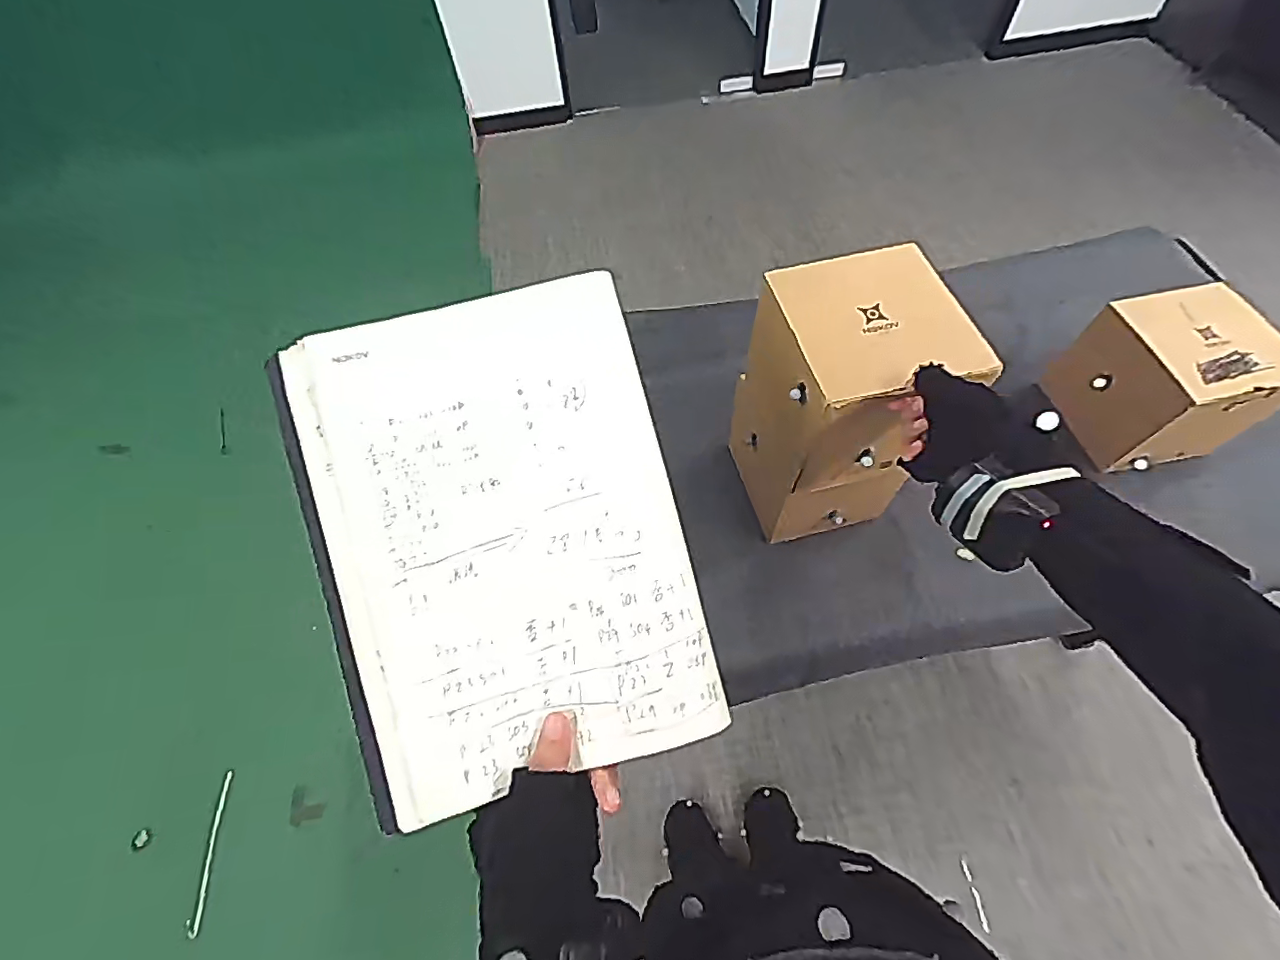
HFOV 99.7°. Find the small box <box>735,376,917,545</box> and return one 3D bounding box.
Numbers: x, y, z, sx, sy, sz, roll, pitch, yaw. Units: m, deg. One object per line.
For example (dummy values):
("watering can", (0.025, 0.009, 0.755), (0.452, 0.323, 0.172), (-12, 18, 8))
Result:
("small box", (0.236, -0.037, 0.729), (0.168, 0.176, 0.179), (-14, 60, -4))

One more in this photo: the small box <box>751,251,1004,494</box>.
("small box", (0.230, -0.111, 0.585), (0.168, 0.176, 0.179), (-13, 60, -4))

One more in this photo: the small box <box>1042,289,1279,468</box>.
("small box", (0.723, -0.131, 0.753), (0.168, 0.176, 0.179), (-10, 59, -2))
